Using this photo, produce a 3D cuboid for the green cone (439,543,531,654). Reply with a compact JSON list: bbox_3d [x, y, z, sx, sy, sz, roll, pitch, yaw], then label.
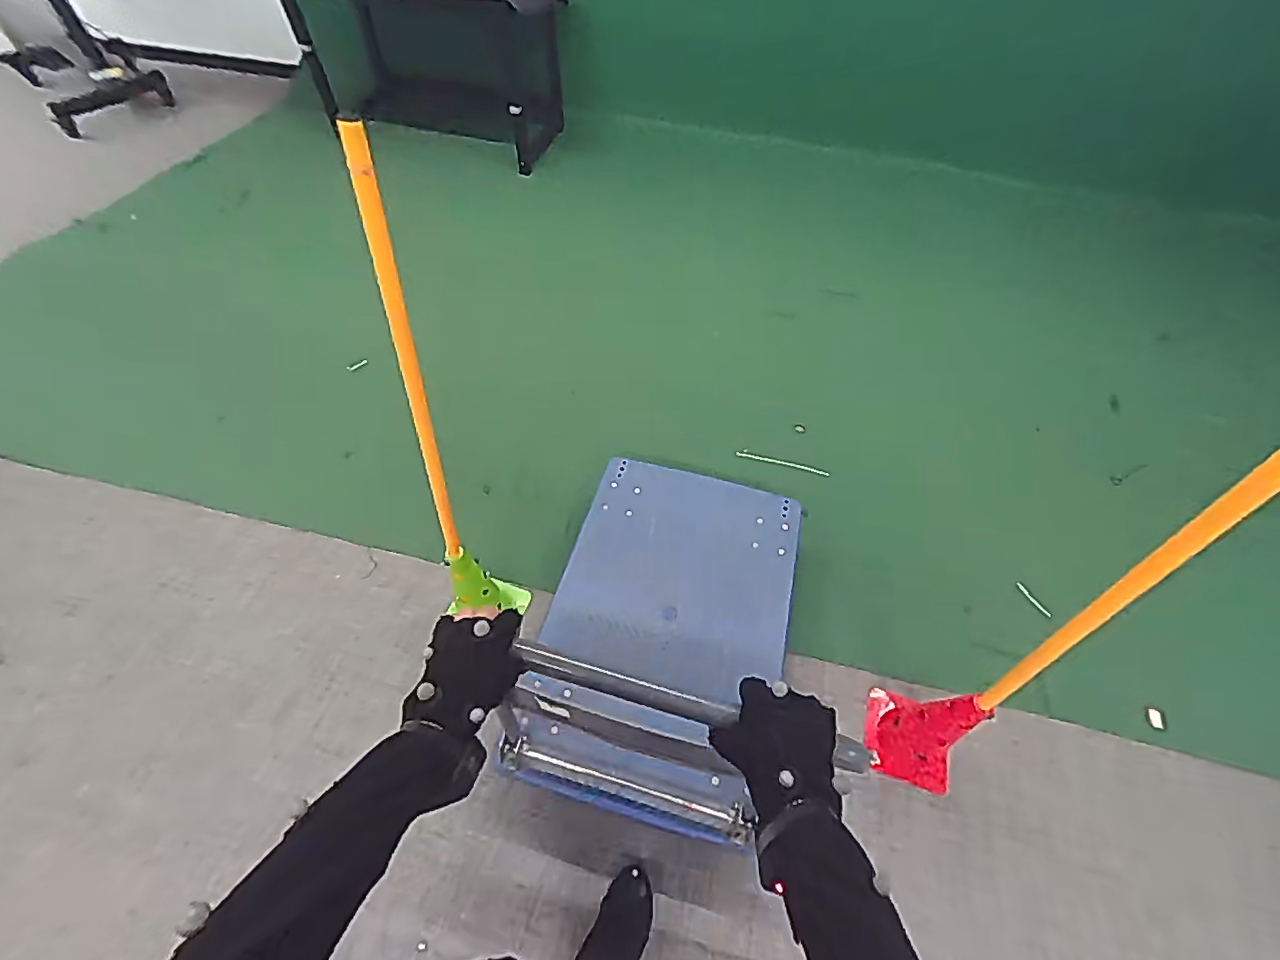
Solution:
[{"bbox_3d":[-0.424,0.264,1.367,0.202,0.368,0.200,17,54,10],"label":"green cone"}]
